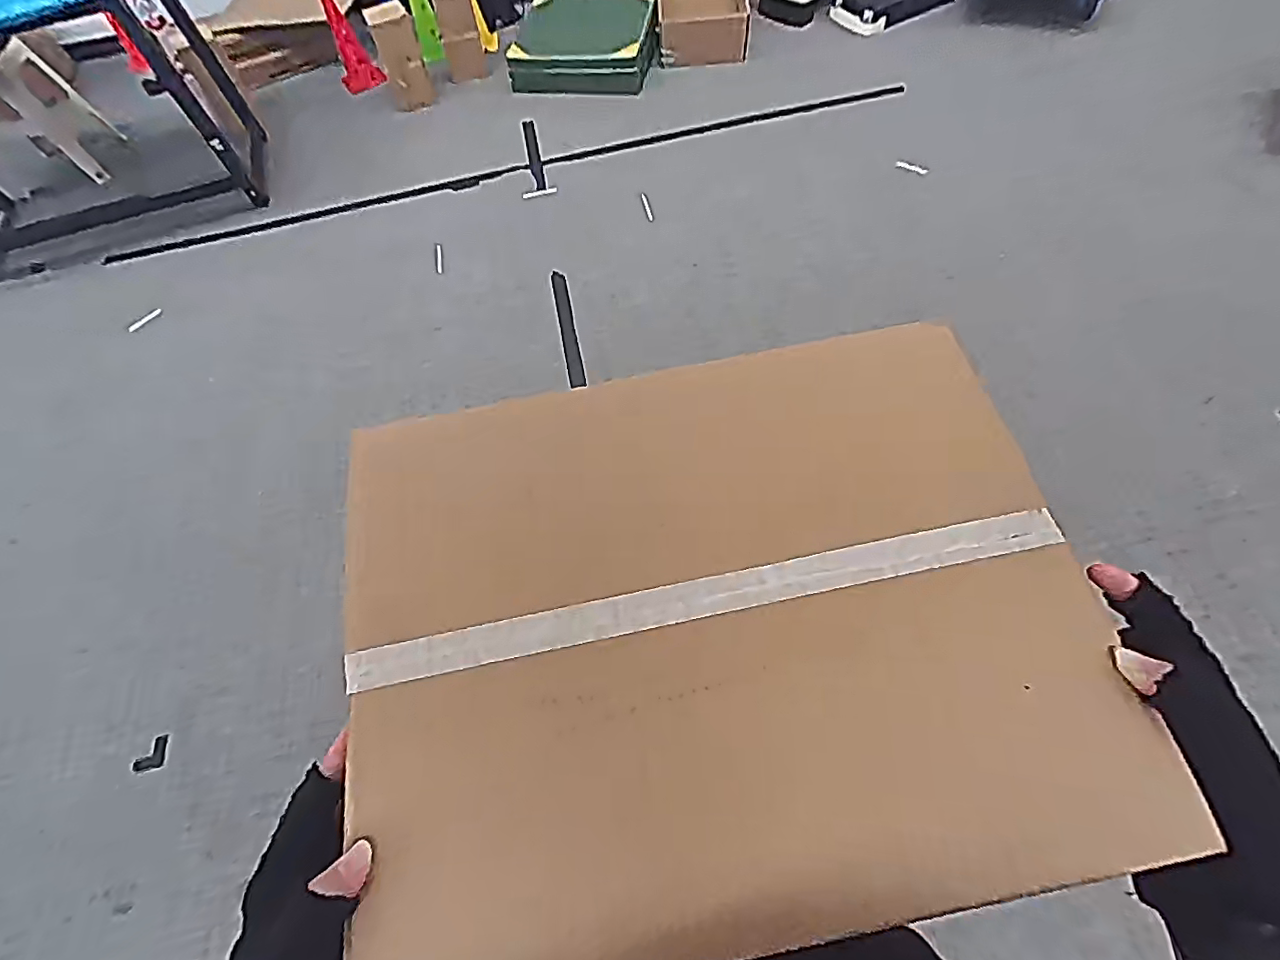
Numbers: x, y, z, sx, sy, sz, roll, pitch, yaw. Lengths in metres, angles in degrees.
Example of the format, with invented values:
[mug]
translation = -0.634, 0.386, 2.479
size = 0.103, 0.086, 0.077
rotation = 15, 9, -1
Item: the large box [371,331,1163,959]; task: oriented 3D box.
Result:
[large box]
translation = 0.045, 0.130, 0.456
size = 0.408, 0.320, 0.320
rotation = -12, 67, -2
